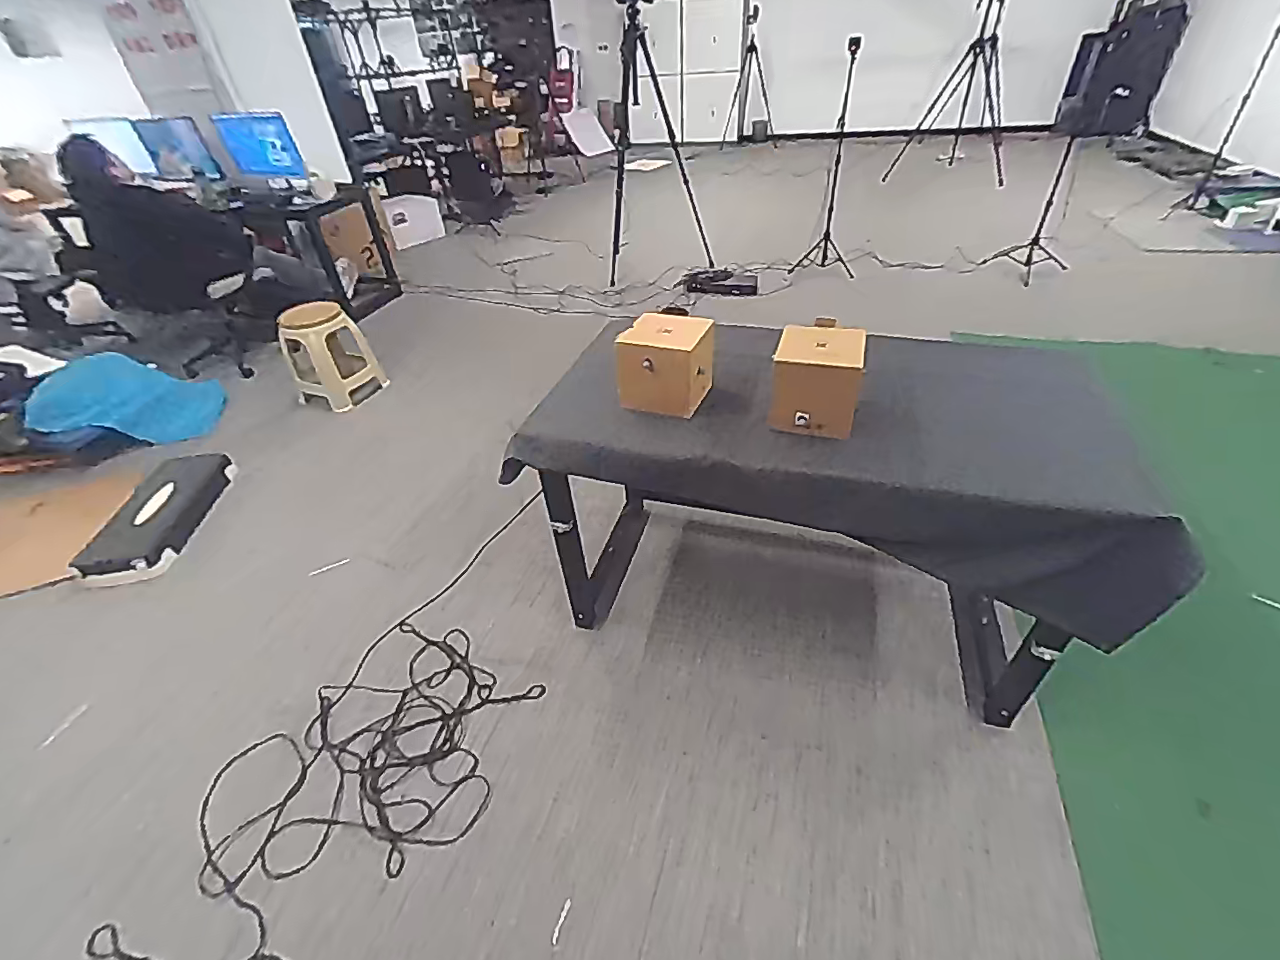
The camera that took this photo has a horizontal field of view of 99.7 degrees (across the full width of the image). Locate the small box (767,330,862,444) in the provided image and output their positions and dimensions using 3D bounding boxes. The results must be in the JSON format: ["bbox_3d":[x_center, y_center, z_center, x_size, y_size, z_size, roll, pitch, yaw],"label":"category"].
[{"bbox_3d":[0.363,-0.198,1.137,0.168,0.176,0.179,8,41,17],"label":"small box"}]

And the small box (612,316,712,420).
[{"bbox_3d":[0.055,-0.253,1.232,0.179,0.176,0.168,12,41,20],"label":"small box"}]
